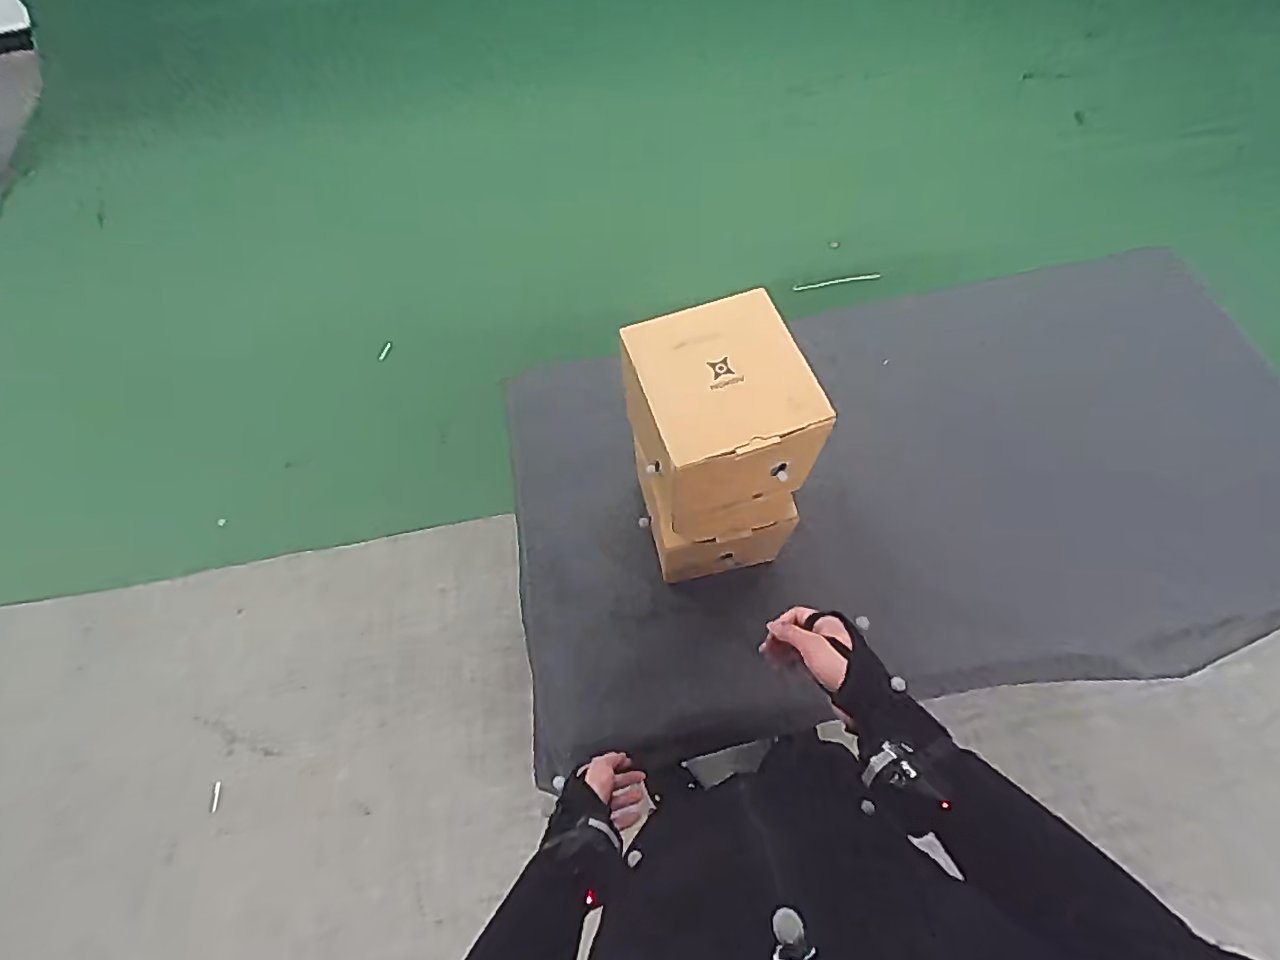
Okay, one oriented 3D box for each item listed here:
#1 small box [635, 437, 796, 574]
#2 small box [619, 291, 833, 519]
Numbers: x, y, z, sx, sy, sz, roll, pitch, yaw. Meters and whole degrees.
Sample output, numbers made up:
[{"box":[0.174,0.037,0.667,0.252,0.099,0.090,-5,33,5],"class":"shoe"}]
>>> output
[{"box":[0.093,0.021,0.742,0.168,0.176,0.179,-12,66,-4],"class":"small box"},{"box":[0.084,-0.071,0.606,0.168,0.176,0.179,-18,65,-7],"class":"small box"}]
